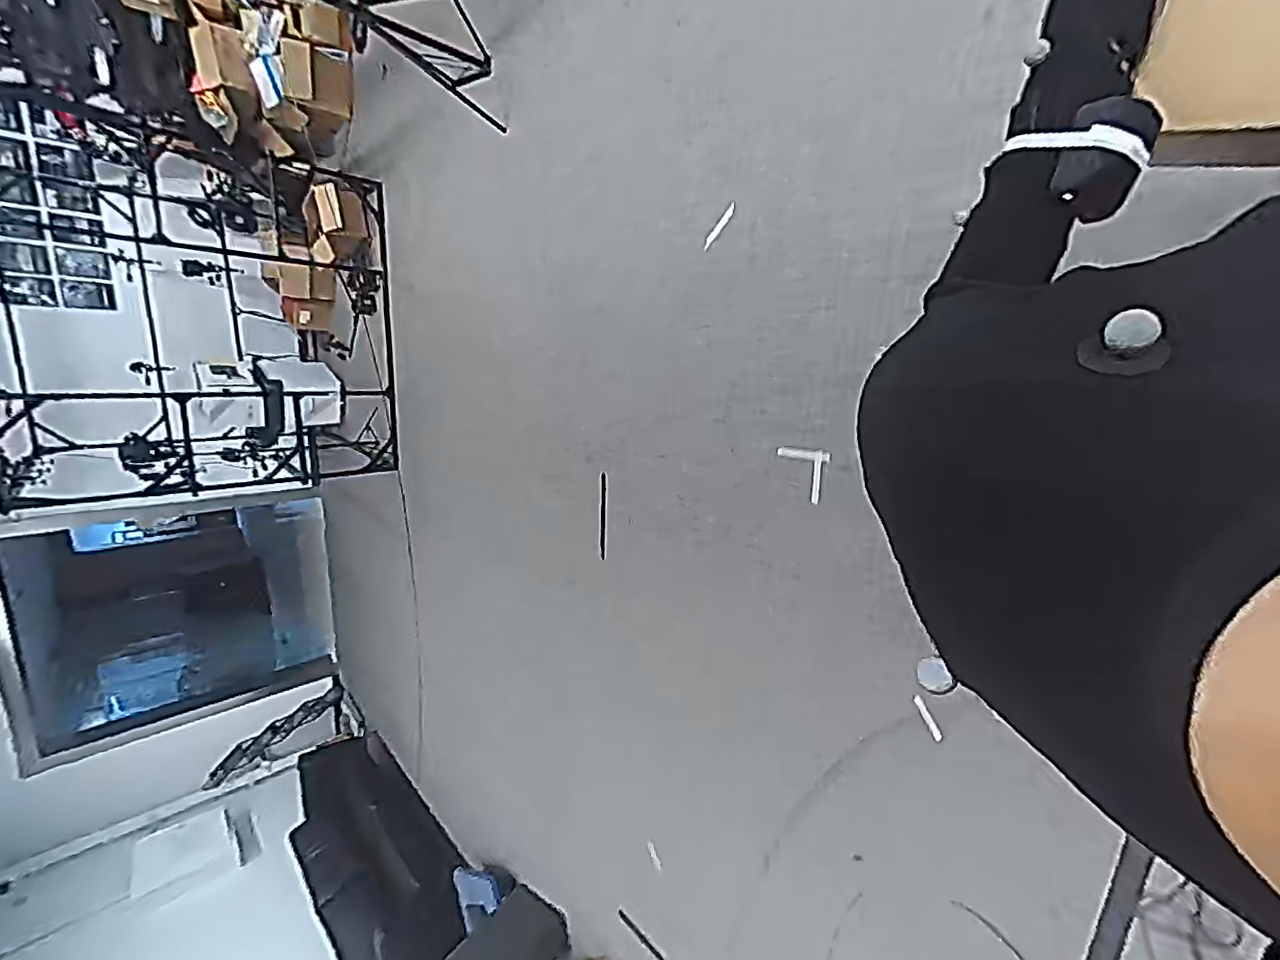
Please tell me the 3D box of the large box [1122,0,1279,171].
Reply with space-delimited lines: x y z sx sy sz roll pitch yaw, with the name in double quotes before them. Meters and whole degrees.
"large box" 0.618 -0.384 0.330 0.408 0.320 0.320 25 125 37
